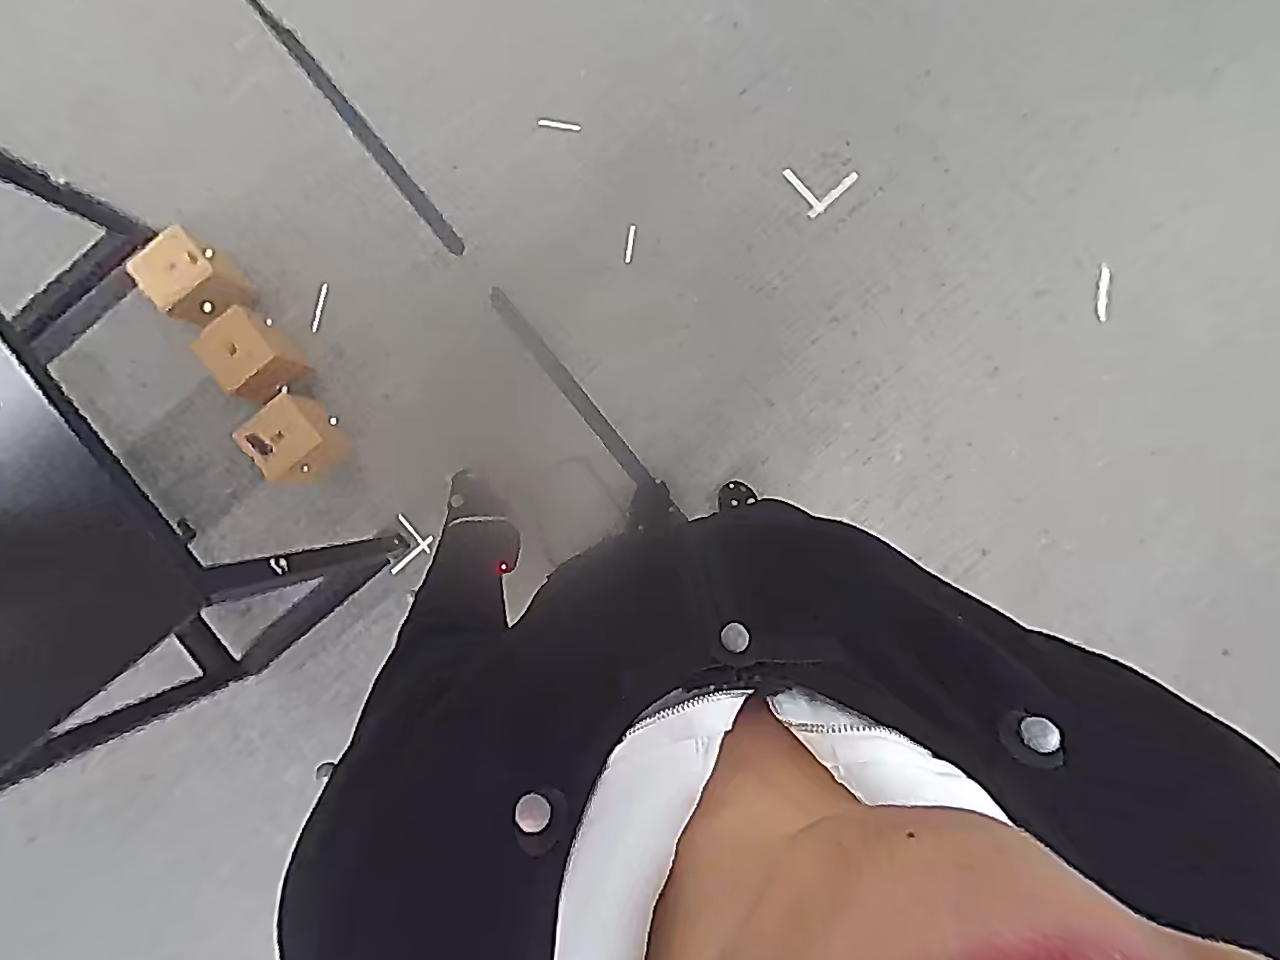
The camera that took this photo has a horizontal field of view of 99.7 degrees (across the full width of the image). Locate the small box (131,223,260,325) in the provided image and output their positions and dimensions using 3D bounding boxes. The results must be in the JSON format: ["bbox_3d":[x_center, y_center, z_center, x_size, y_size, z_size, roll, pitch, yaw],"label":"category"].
[{"bbox_3d":[-1.199,-0.549,1.473,0.179,0.176,0.168,-40,89,1],"label":"small box"}]

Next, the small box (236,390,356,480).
[{"bbox_3d":[-0.918,-0.113,1.460,0.179,0.176,0.168,-40,89,0],"label":"small box"}]

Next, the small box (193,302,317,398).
[{"bbox_3d":[-1.036,-0.342,1.468,0.168,0.176,0.179,-40,89,2],"label":"small box"}]
